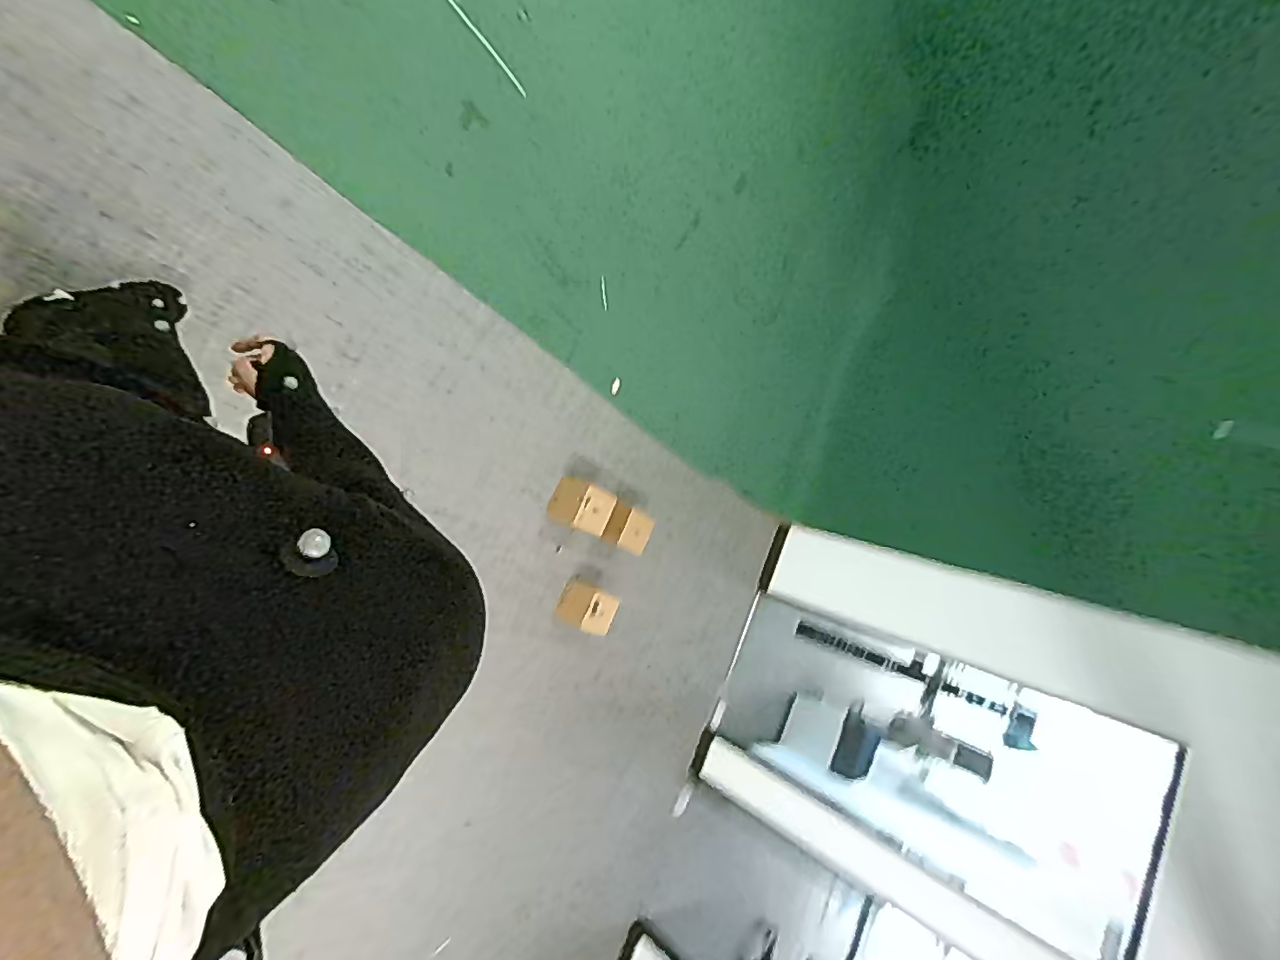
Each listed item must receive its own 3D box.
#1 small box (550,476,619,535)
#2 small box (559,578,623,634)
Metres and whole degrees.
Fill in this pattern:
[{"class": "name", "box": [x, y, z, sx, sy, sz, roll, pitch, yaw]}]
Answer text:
[{"class": "small box", "box": [-0.223, 0.098, 2.147, 0.179, 0.176, 0.168, 33, 76, -48]}, {"class": "small box", "box": [-0.213, 0.530, 2.290, 0.179, 0.176, 0.168, 35, 76, -47]}]
